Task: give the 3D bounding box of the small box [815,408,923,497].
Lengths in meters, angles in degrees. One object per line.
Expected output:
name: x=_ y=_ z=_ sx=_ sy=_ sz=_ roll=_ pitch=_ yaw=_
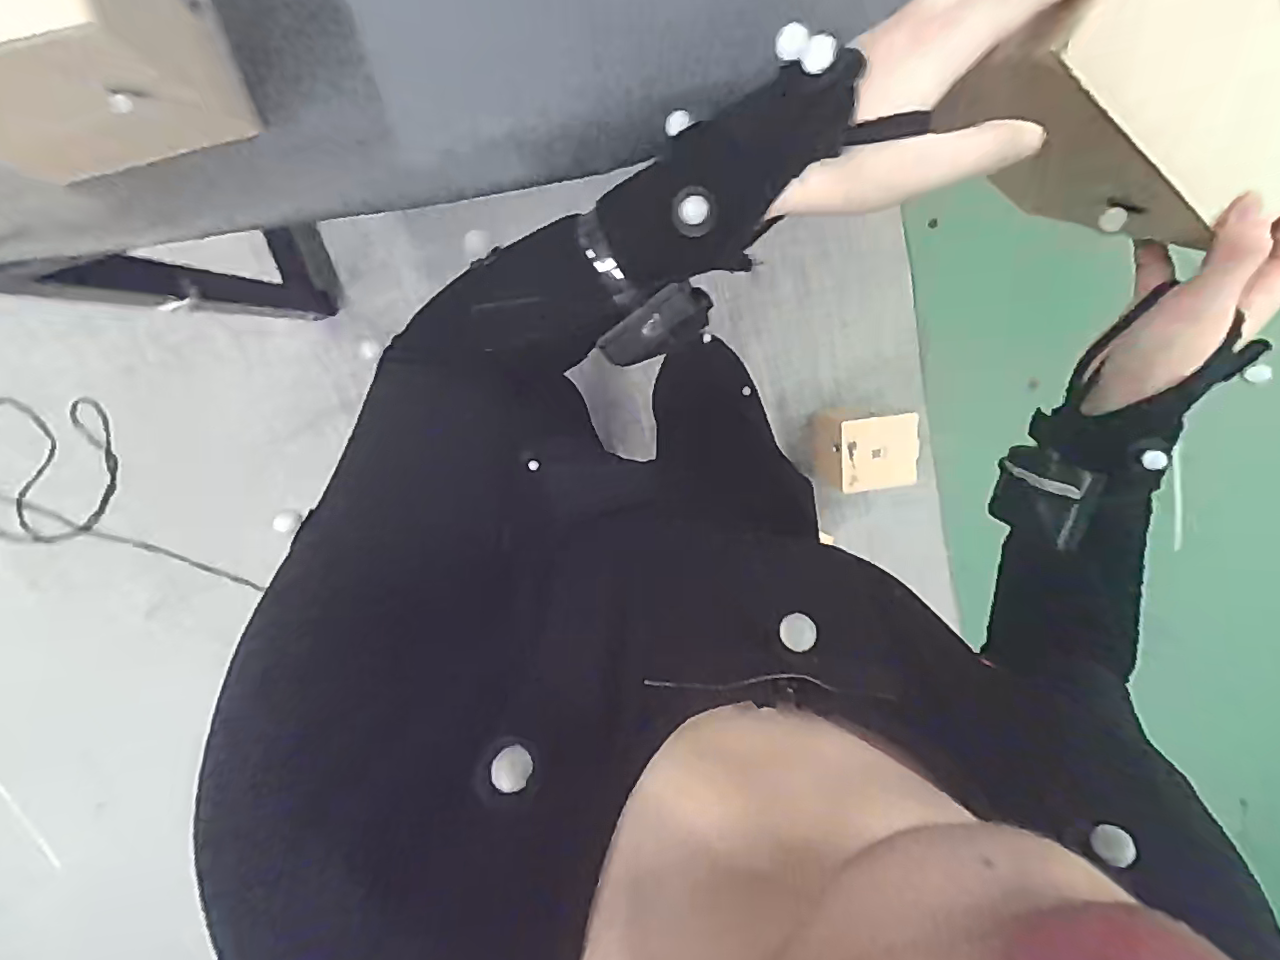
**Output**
small box: x=0.526 y=-0.070 z=1.259 sx=0.179 sy=0.176 sz=0.168 roll=-7 pitch=105 yaw=-3
